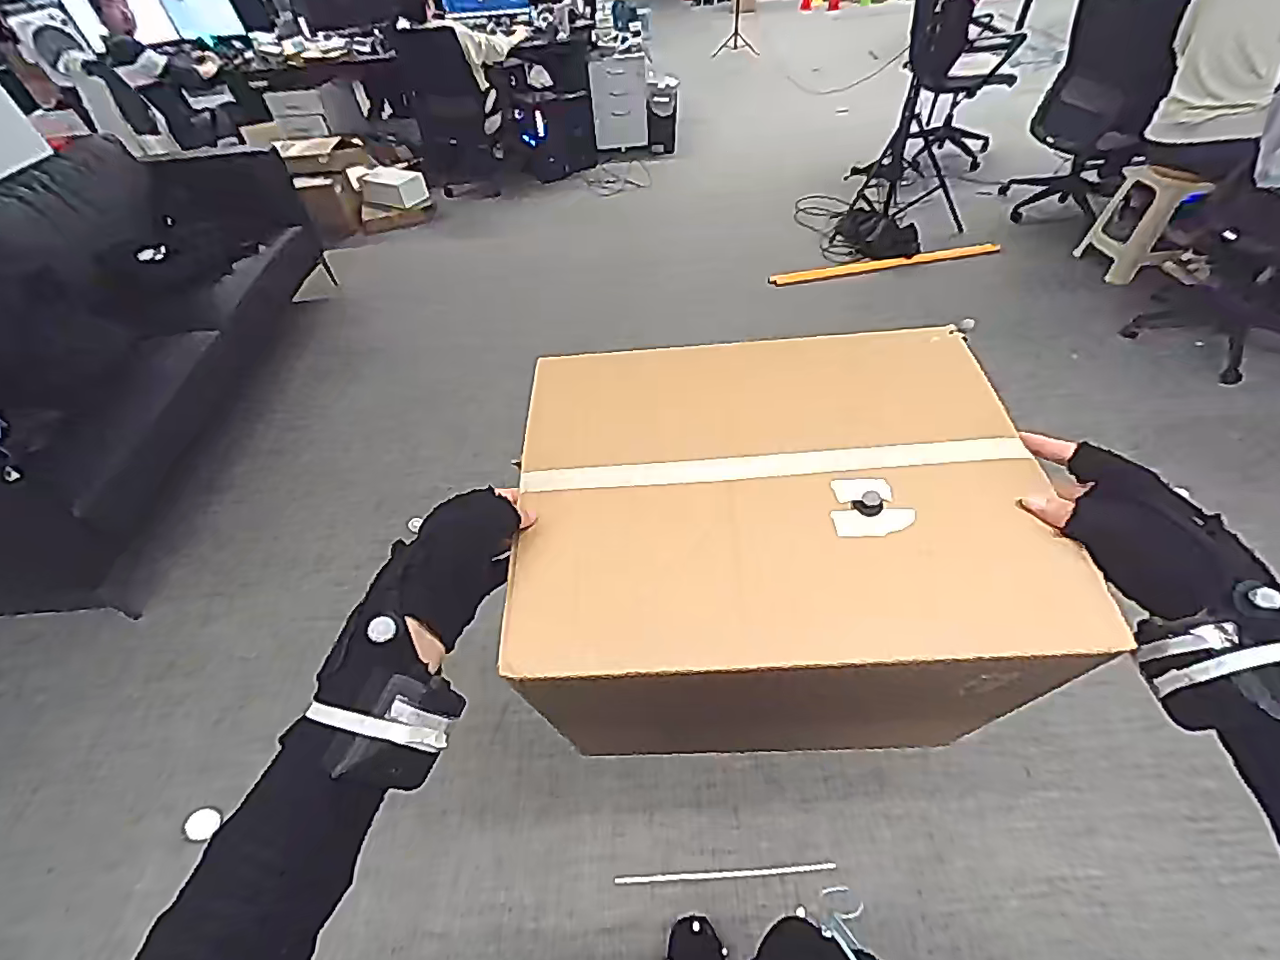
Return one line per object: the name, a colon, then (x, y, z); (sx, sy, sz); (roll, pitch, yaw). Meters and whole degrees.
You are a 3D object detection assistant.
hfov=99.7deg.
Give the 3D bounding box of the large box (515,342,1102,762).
large box: (0.116, 0.091, 0.570); (0.408, 0.320, 0.320); (-4, 54, 3)
